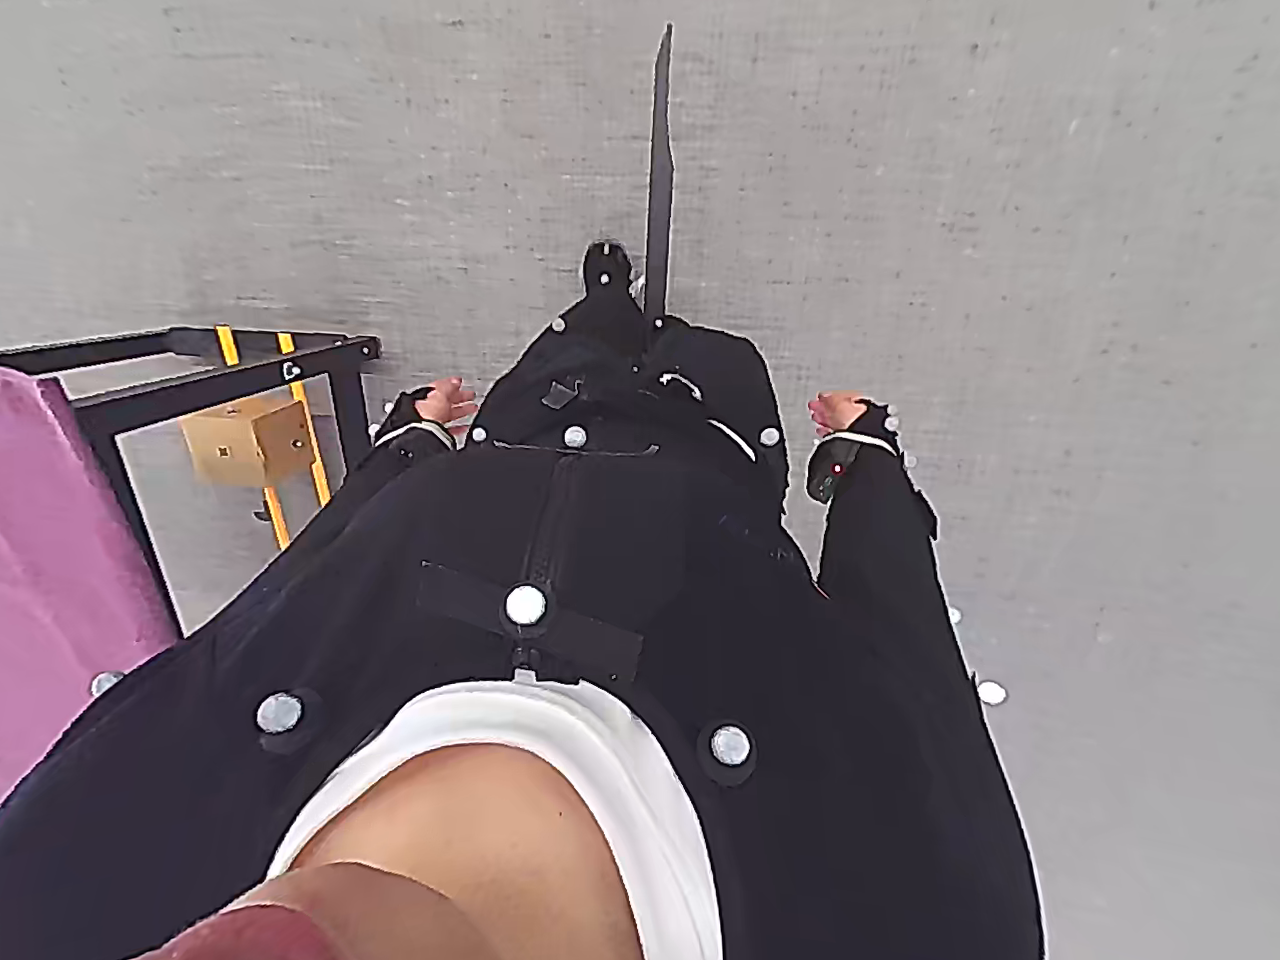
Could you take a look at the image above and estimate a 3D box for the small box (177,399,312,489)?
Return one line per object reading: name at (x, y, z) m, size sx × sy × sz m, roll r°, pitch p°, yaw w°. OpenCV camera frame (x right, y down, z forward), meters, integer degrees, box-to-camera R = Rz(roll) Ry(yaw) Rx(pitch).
small box at (-0.924, -0.090, 1.279) m, size 0.179 × 0.176 × 0.168 m, roll 3°, pitch 114°, yaw 4°
